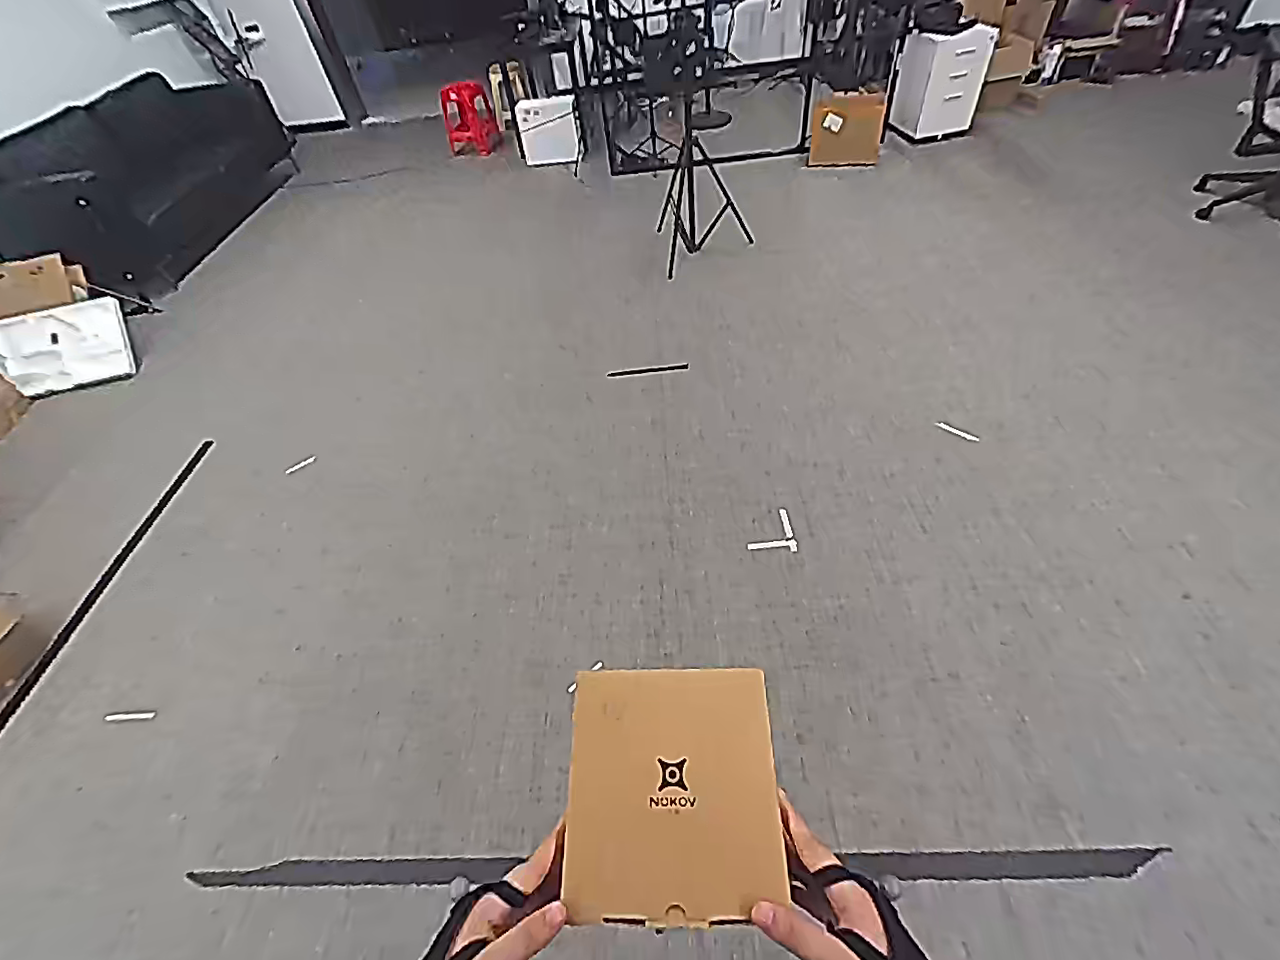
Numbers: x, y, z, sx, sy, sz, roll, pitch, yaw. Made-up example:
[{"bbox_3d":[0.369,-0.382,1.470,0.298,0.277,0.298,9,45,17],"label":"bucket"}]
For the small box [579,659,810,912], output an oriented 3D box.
[{"bbox_3d":[0.040,0.275,0.490,0.168,0.176,0.179,-1,55,2],"label":"small box"}]
